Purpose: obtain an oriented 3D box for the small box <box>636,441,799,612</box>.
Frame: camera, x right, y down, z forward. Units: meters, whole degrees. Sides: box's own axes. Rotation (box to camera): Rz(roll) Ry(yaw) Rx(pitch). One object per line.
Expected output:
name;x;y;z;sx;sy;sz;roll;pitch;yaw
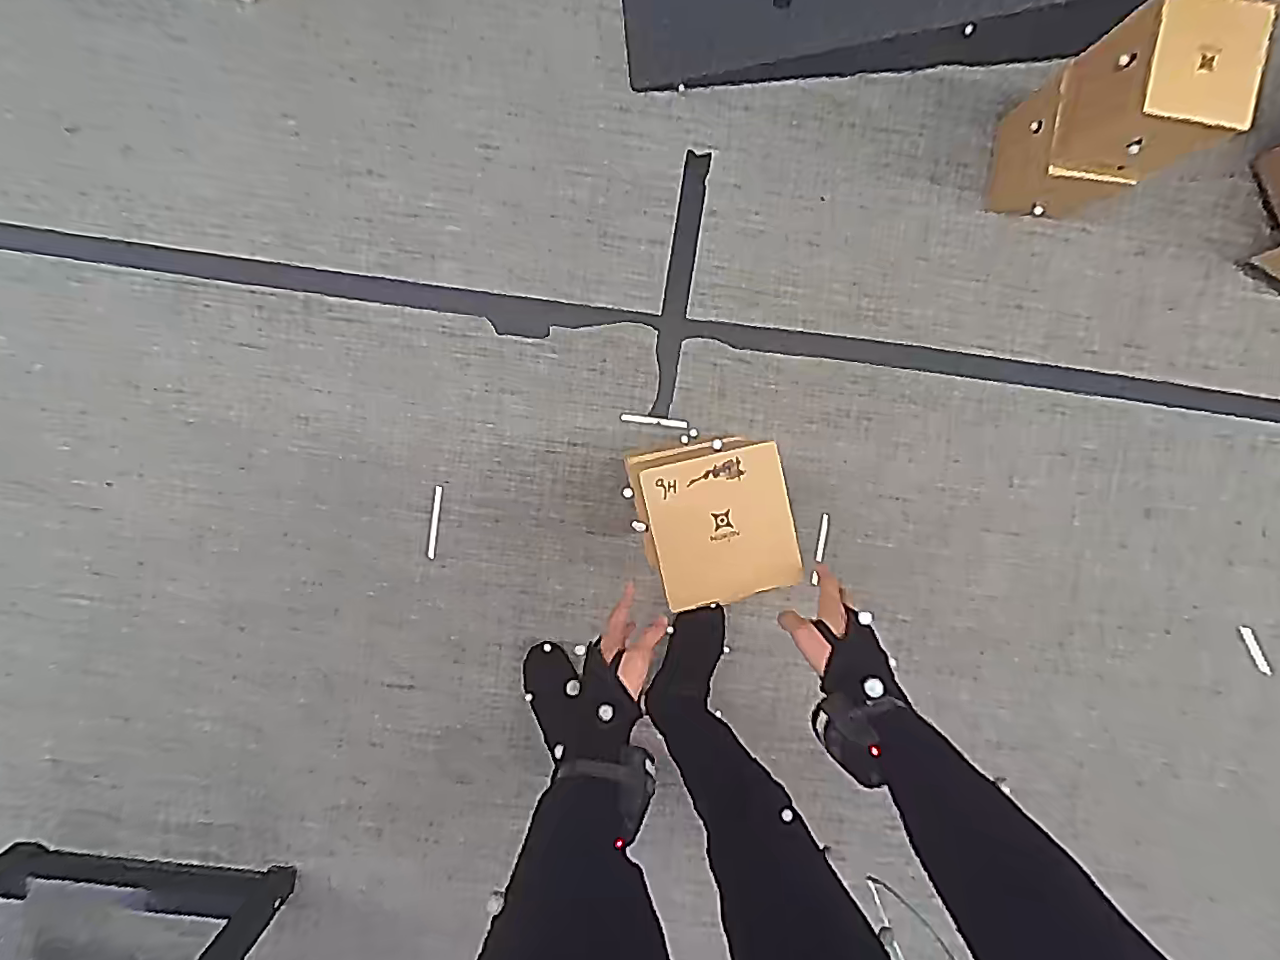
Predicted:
small box;0.092;0.050;0.717;0.168;0.176;0.179;-13;96;-2
